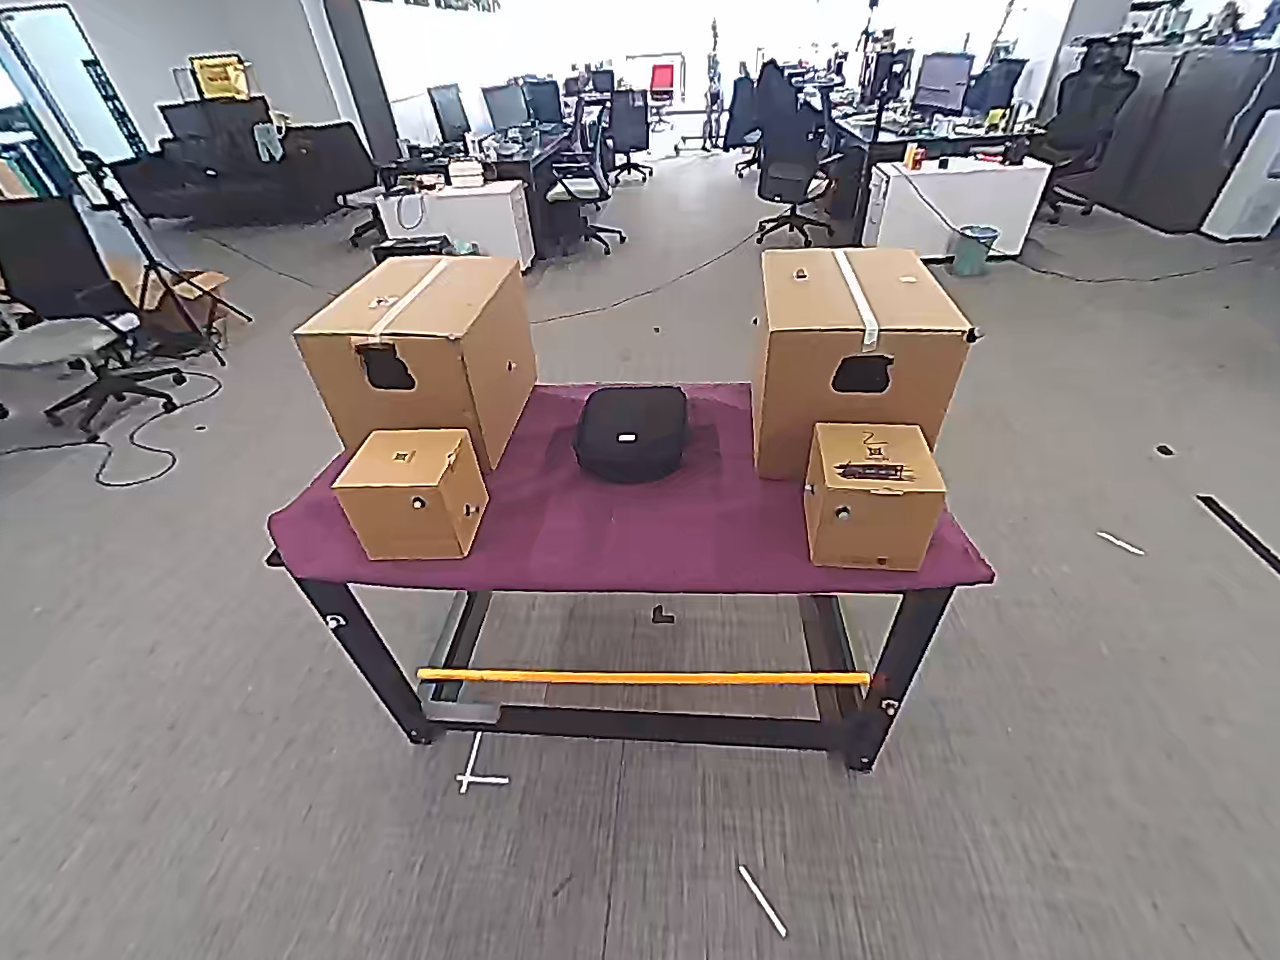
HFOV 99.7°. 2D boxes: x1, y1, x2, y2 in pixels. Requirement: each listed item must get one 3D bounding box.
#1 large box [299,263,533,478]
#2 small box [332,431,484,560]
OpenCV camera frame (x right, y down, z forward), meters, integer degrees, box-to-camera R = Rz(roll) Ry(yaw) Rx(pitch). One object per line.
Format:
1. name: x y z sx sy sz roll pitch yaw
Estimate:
1. large box: -0.444 -0.251 1.195 0.320 0.320 0.408 1 42 4
2. small box: -0.396 0.029 0.961 0.179 0.176 0.168 -1 38 2
